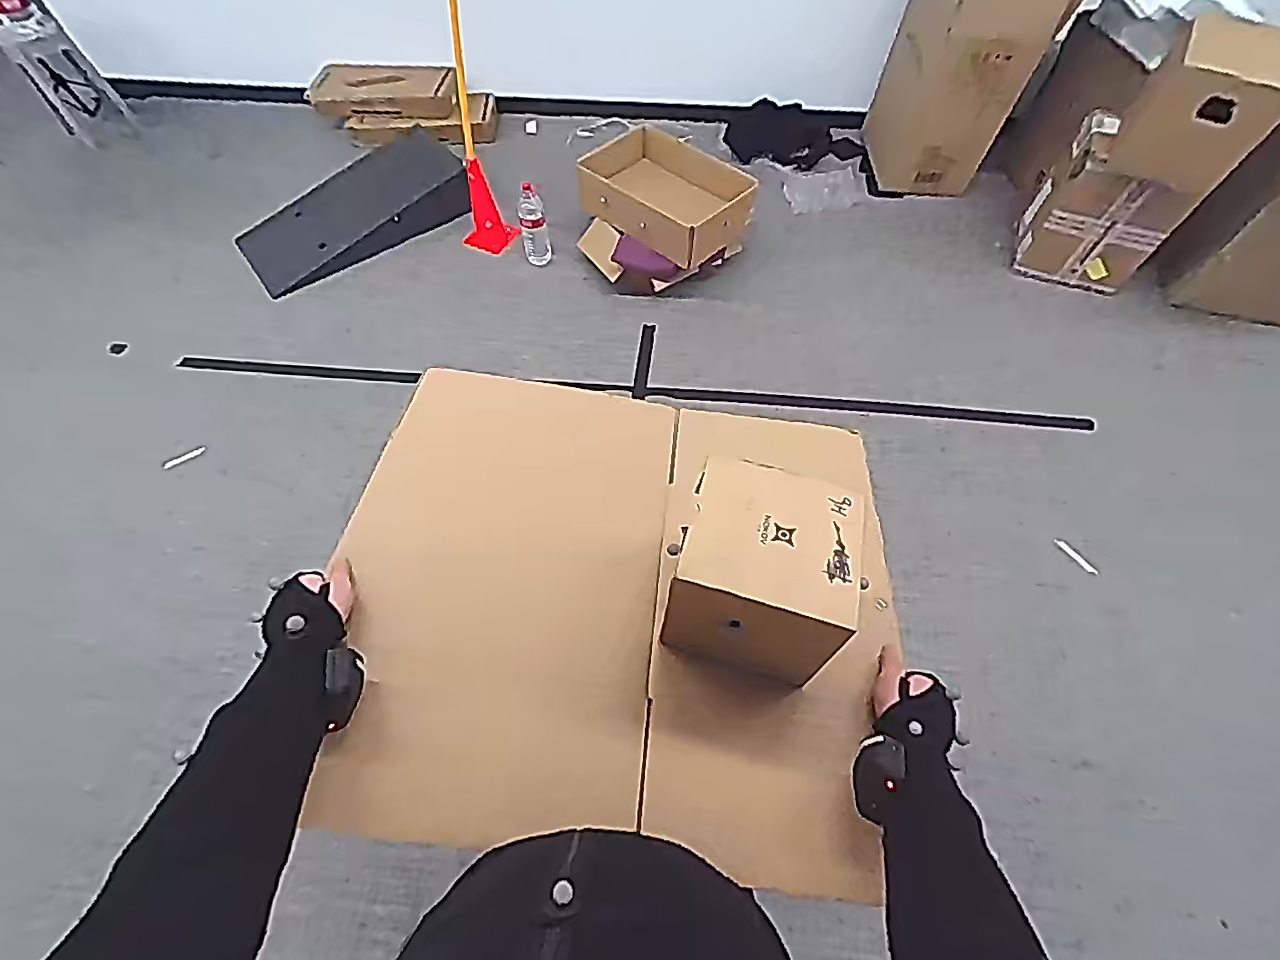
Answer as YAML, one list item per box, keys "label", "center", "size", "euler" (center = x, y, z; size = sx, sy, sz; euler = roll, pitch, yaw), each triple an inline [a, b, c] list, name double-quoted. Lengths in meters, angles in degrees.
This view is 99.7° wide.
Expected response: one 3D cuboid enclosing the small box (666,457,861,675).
- label: "small box"
  center: [0.134, 0.103, 0.620]
  size: [0.179, 0.176, 0.168]
  euler: [14, 54, 8]
